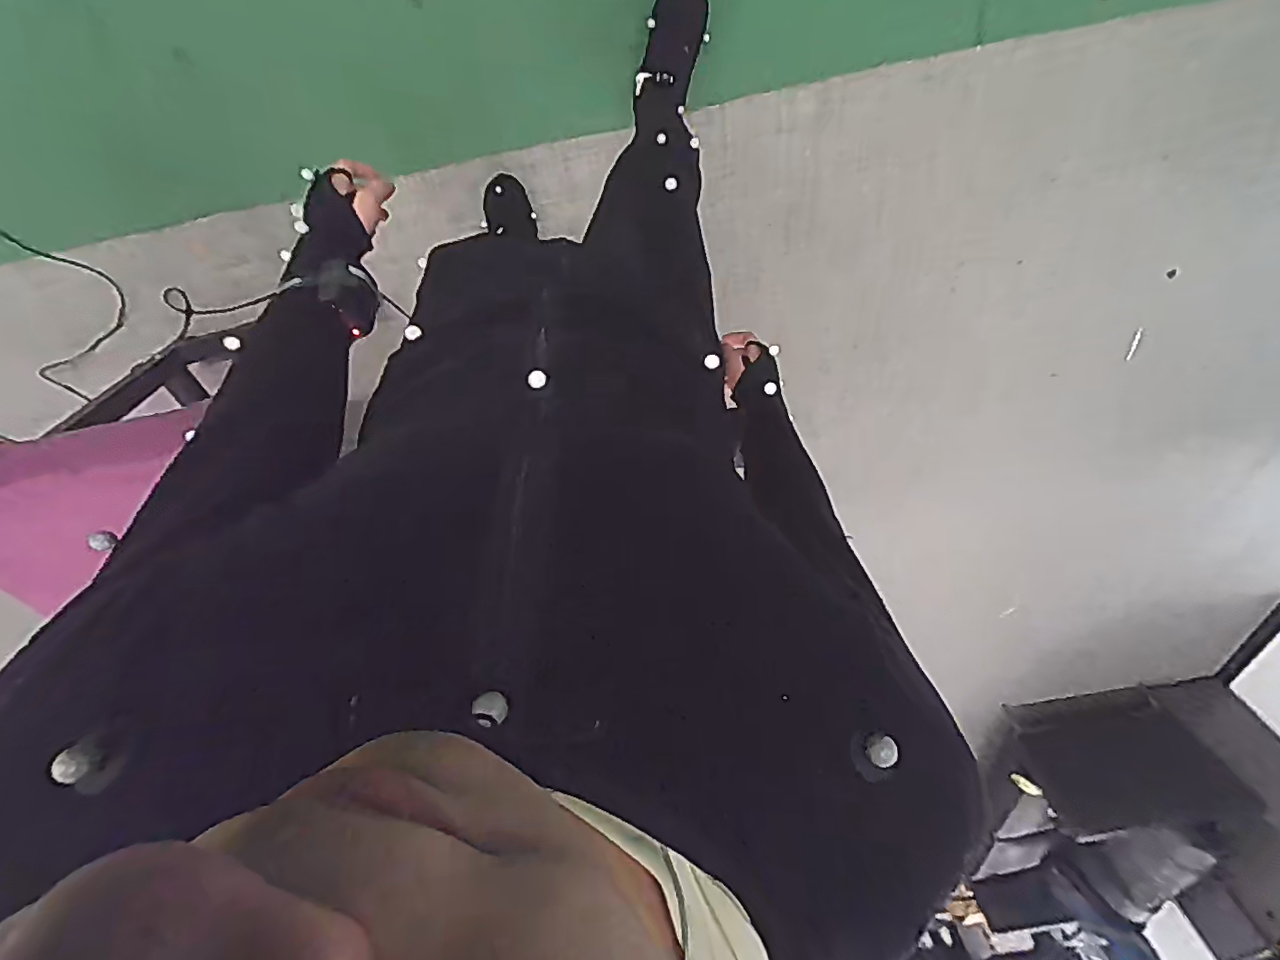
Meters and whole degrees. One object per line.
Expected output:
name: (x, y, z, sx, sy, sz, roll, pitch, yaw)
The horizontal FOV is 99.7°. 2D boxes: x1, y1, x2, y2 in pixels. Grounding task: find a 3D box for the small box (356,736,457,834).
small box: (-0.620, 0.822, 1.460, 0.179, 0.176, 0.168, -15, 129, 5)
